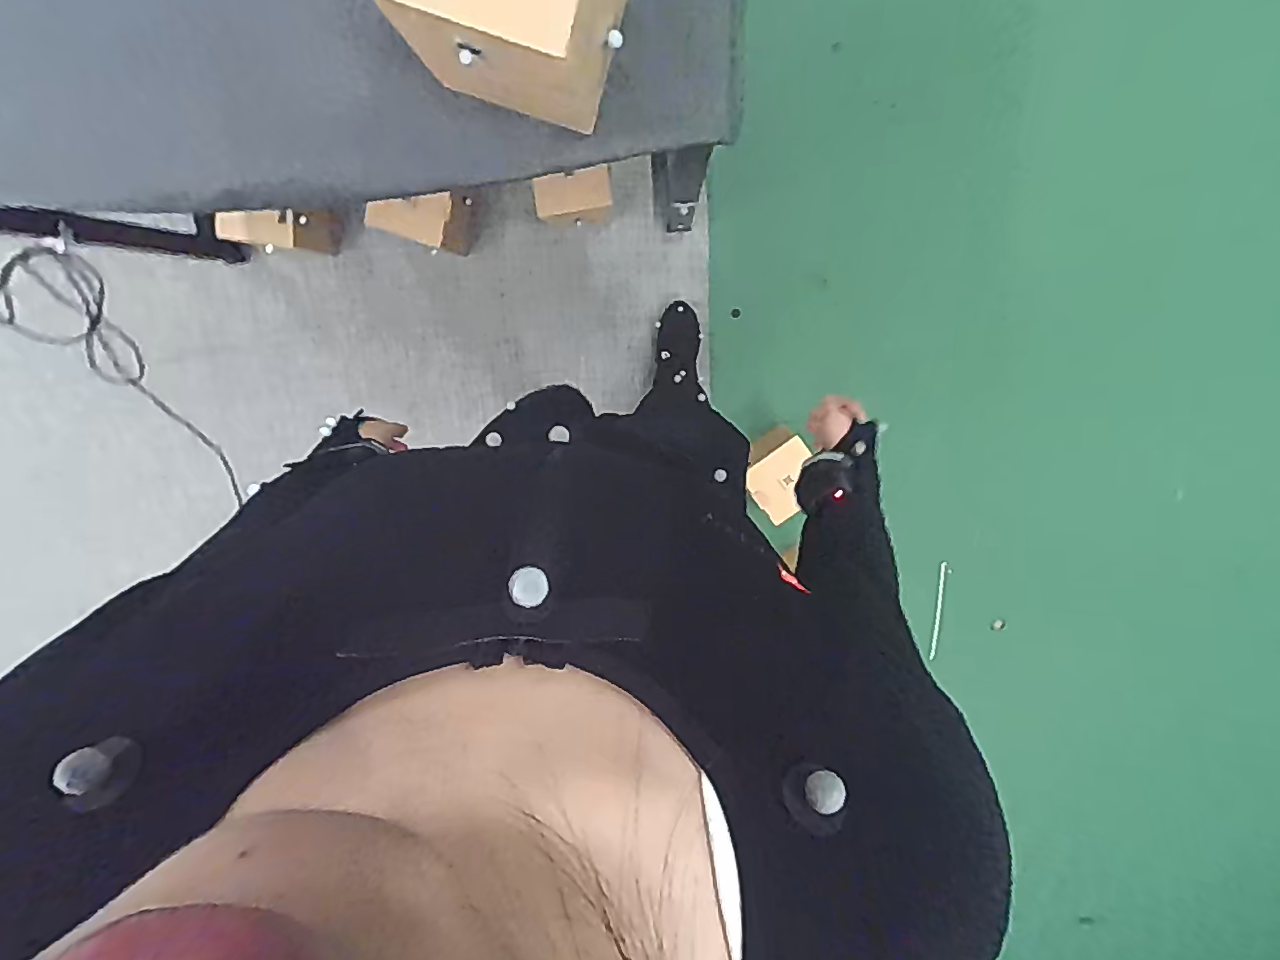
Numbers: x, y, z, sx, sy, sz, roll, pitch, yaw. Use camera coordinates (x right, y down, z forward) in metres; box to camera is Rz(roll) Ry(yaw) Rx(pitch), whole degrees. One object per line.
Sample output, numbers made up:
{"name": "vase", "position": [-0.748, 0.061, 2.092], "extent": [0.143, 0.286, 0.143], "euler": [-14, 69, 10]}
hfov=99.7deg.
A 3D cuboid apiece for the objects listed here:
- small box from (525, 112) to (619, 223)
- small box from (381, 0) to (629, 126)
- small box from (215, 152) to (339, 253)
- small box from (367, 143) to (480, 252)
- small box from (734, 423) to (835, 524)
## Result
{"name": "small box", "position": [-0.143, -0.683, 1.207], "extent": [0.168, 0.176, 0.179], "euler": [-7, 107, 4]}
{"name": "small box", "position": [-0.117, -0.468, 0.506], "extent": [0.179, 0.176, 0.168], "euler": [18, 105, -2]}
{"name": "small box", "position": [-0.834, -0.634, 1.255], "extent": [0.179, 0.176, 0.168], "euler": [10, 107, 1]}
{"name": "small box", "position": [-0.487, -0.636, 1.239], "extent": [0.179, 0.176, 0.168], "euler": [17, 106, -1]}
{"name": "small box", "position": [0.362, -0.024, 1.387], "extent": [0.179, 0.176, 0.168], "euler": [-37, 102, 13]}
